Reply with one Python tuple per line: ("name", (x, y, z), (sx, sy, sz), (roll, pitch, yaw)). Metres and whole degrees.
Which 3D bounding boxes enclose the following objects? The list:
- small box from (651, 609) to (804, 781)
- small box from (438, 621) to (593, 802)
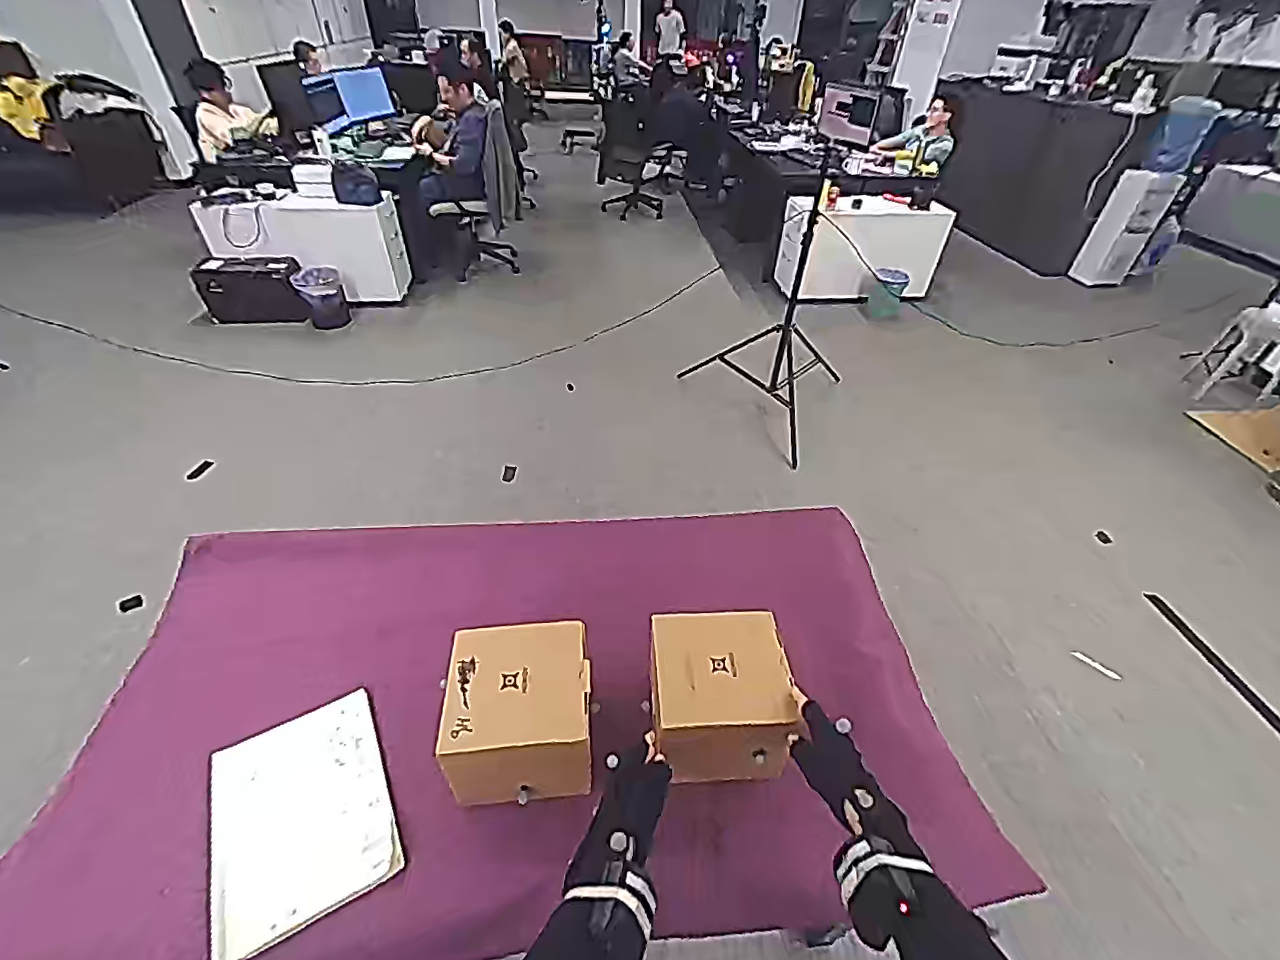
("small box", (0.108, 0.300, 0.756), (0.179, 0.176, 0.168), (-2, 39, -2))
("small box", (-0.156, 0.311, 0.731), (0.179, 0.176, 0.168), (-2, 40, -7))
